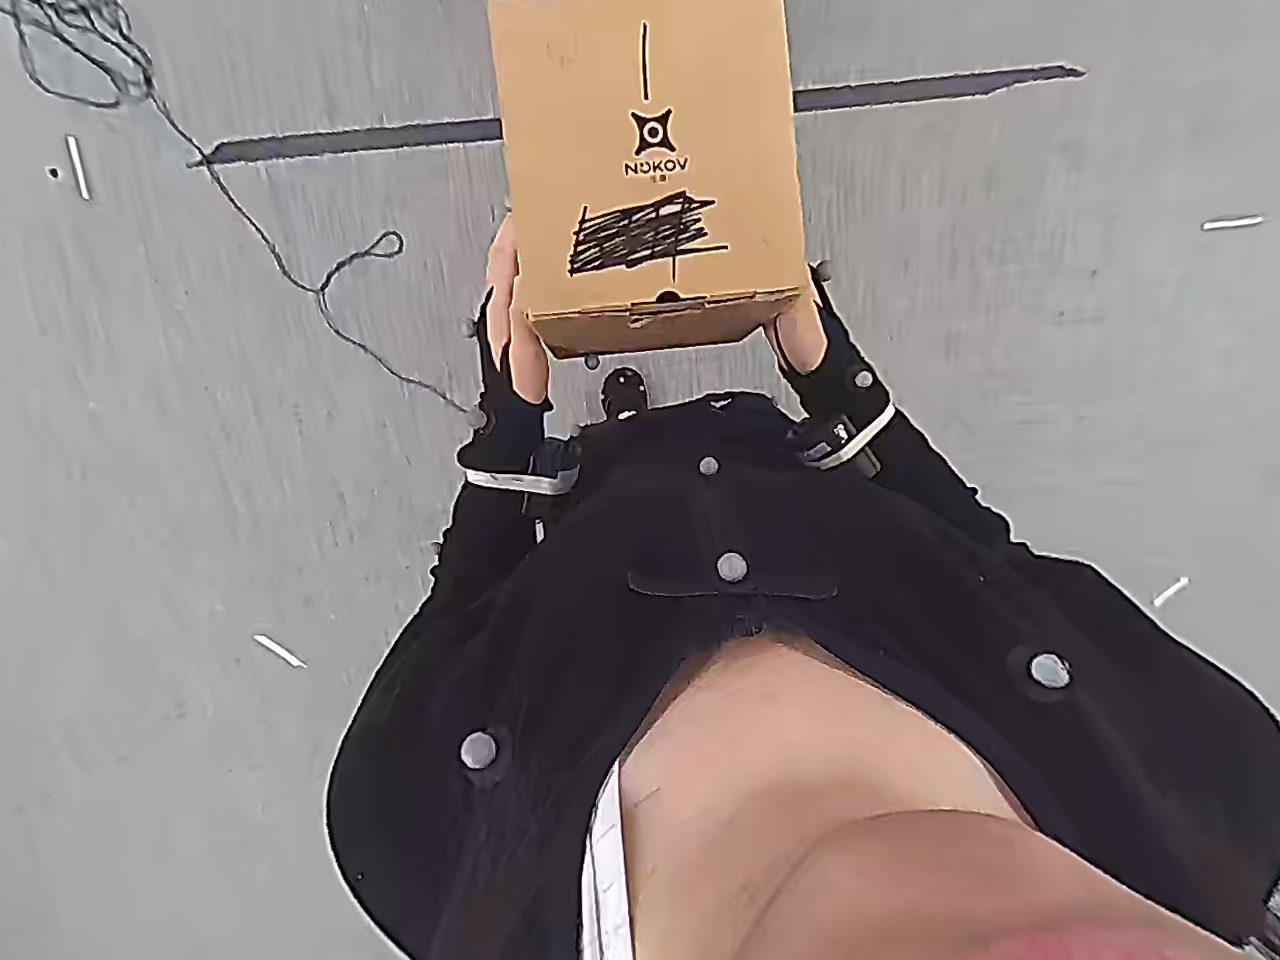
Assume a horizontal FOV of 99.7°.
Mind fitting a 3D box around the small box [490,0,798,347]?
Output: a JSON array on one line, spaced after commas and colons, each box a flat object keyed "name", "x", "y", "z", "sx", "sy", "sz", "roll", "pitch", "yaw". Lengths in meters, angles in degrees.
[{"name": "small box", "x": 0.002, "y": -0.196, "z": 0.387, "sx": 0.168, "sy": 0.176, "sz": 0.179, "roll": -6, "pitch": 94, "yaw": -3}]
